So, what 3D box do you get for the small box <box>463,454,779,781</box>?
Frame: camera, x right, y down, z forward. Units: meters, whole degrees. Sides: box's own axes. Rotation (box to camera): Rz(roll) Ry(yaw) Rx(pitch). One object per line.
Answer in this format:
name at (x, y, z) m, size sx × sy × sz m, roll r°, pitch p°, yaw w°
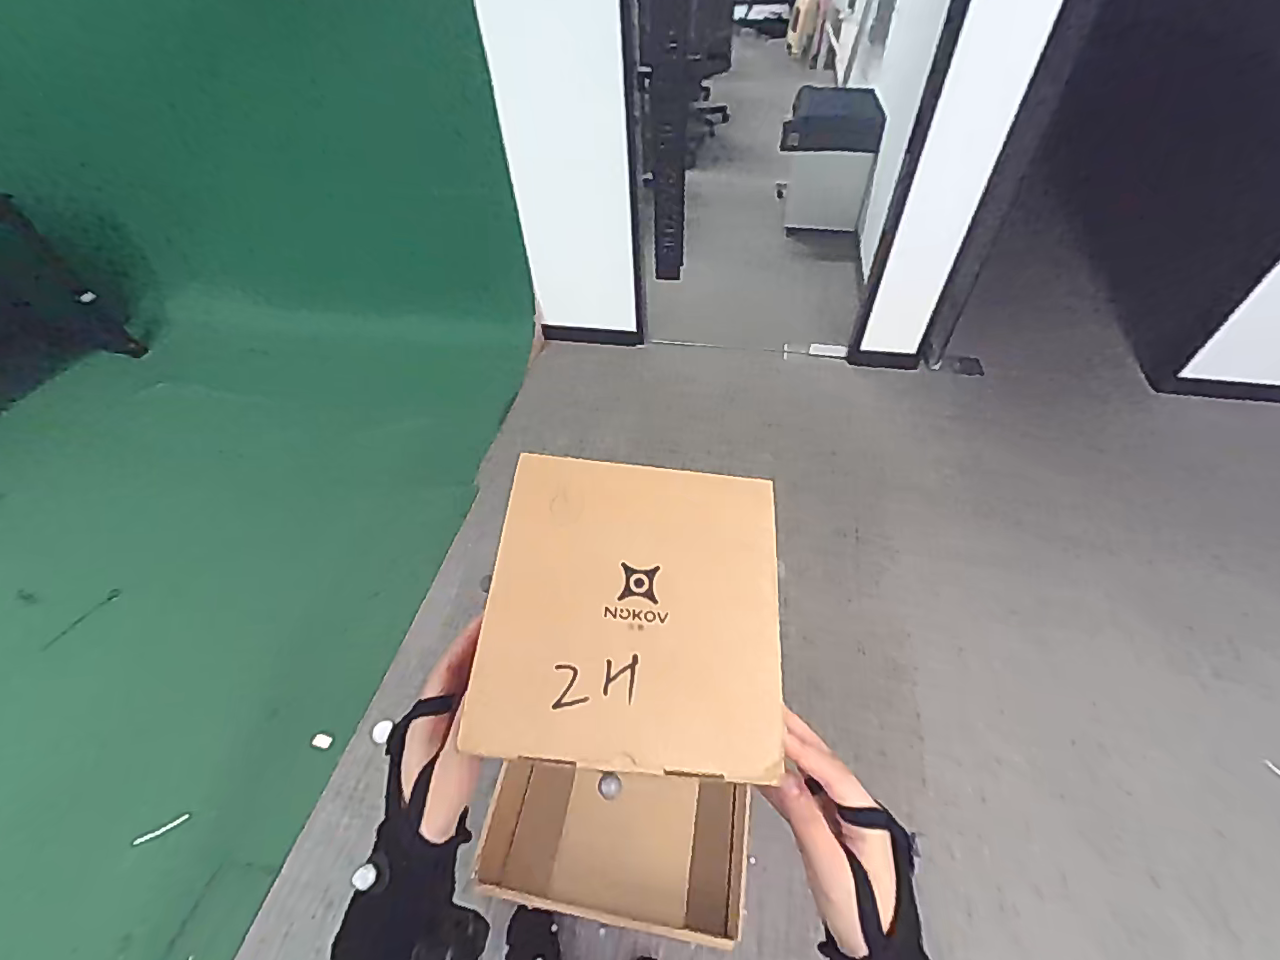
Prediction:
small box at (-0.008, 0.105, 0.383) m, size 0.168 × 0.176 × 0.179 m, roll 6°, pitch 62°, yaw -1°
